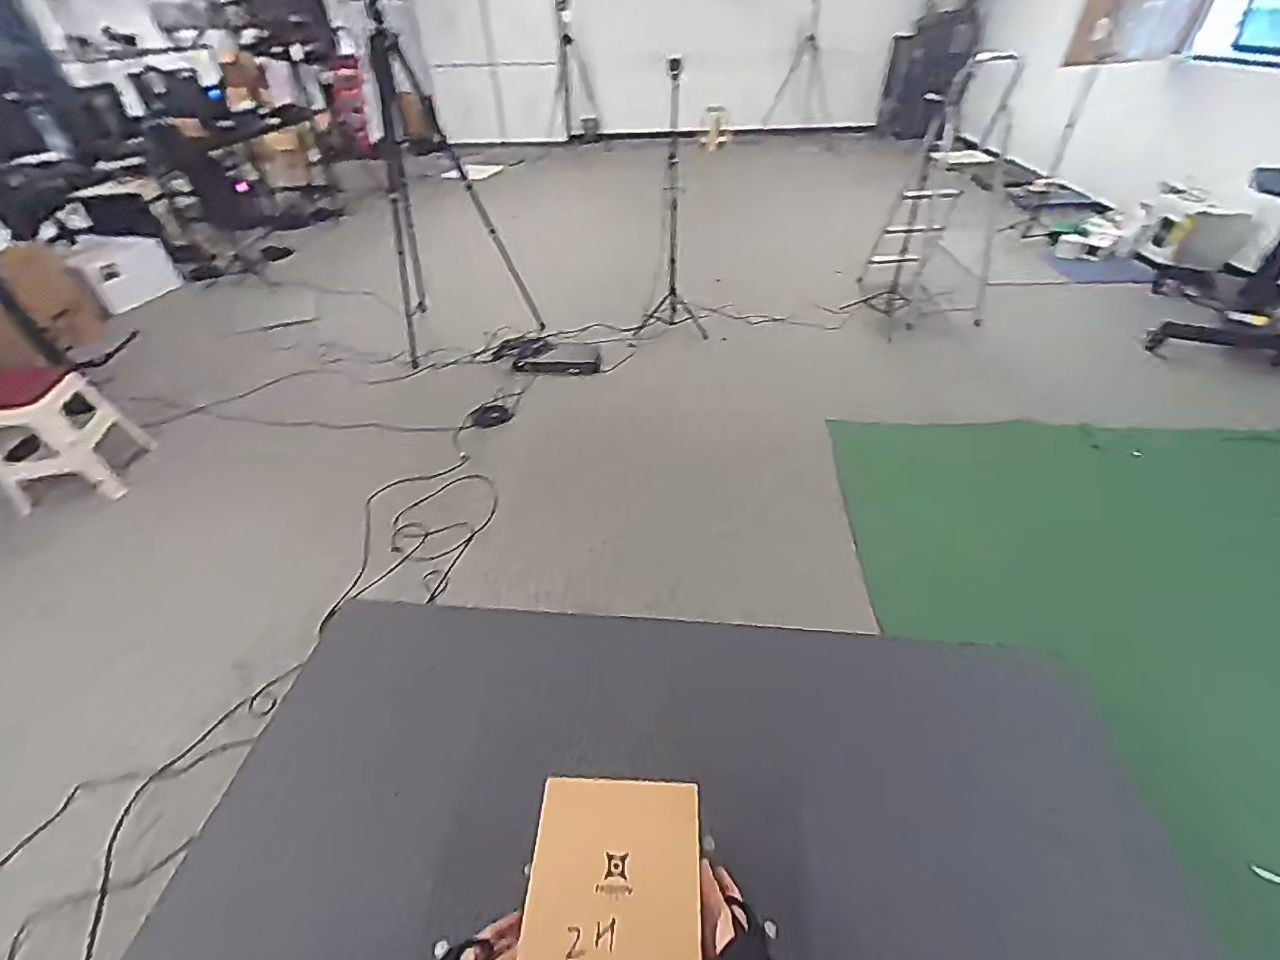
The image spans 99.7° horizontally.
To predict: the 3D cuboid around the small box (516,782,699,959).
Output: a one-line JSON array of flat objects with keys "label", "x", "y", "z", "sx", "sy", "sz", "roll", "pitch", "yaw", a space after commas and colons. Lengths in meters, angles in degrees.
[{"label": "small box", "x": -0.024, "y": 0.449, "z": 0.574, "sx": 0.168, "sy": 0.176, "sz": 0.179, "roll": 0, "pitch": 41, "yaw": 4}]
